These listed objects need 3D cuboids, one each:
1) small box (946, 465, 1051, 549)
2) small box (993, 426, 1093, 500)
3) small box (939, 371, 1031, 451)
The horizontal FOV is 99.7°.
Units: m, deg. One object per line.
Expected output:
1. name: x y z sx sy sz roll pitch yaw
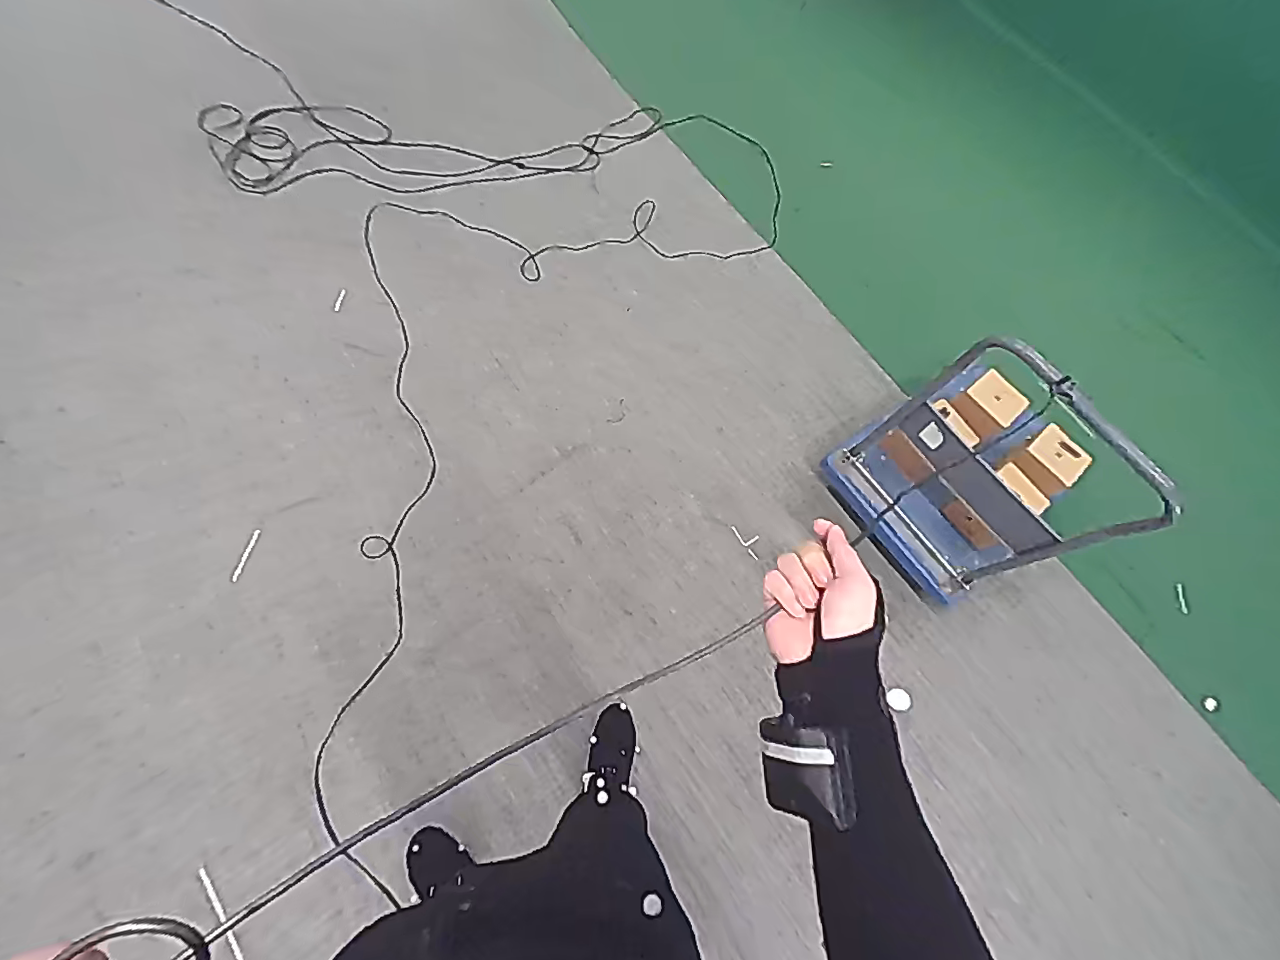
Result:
1. small box: 1.092 0.086 1.662 0.179 0.176 0.168 -30 75 -22
2. small box: 1.307 -0.040 1.766 0.179 0.176 0.168 -34 76 -23
3. small box: 1.149 -0.227 1.820 0.179 0.176 0.168 -34 77 -24
